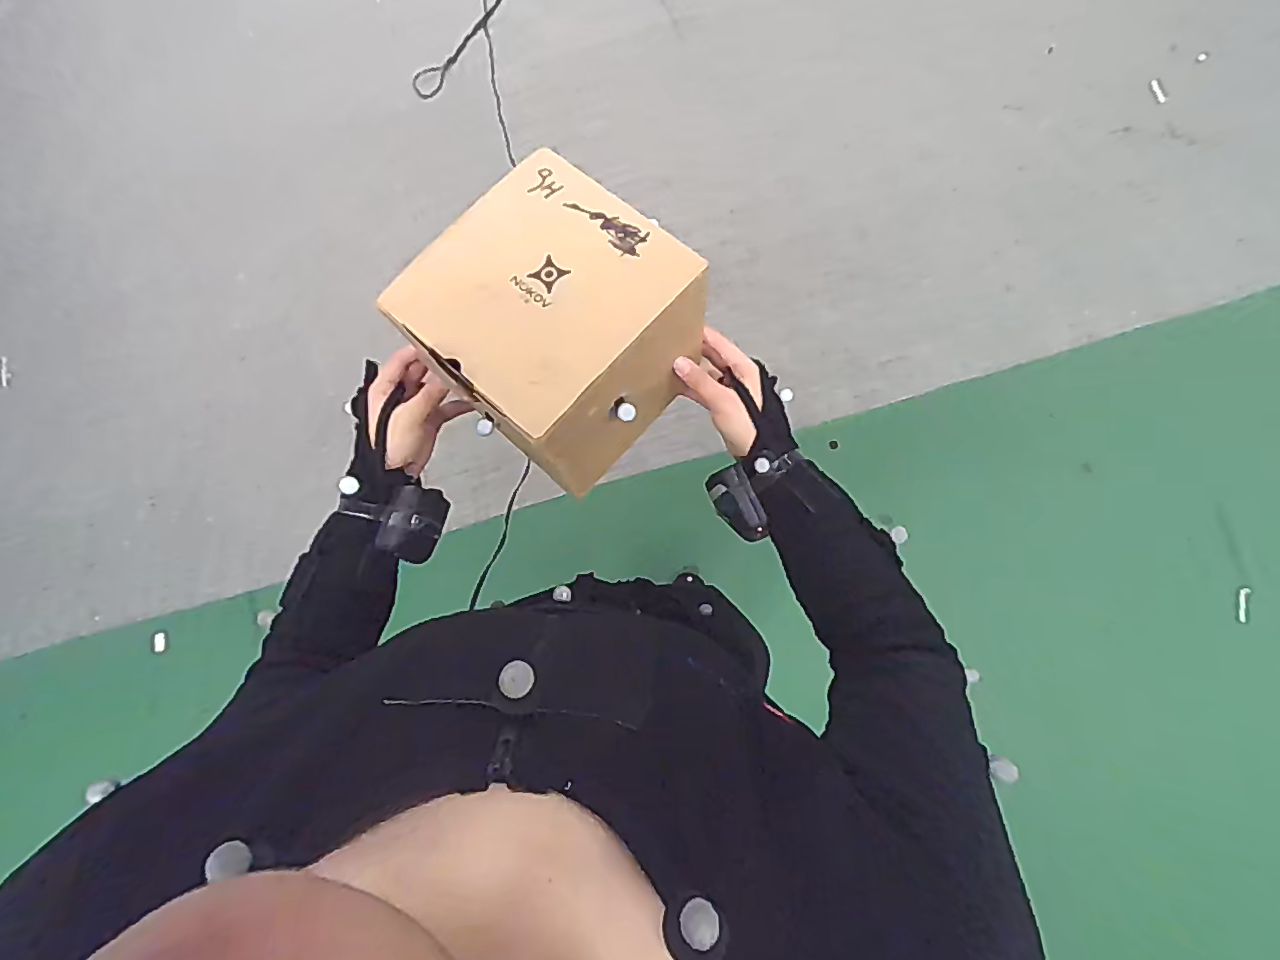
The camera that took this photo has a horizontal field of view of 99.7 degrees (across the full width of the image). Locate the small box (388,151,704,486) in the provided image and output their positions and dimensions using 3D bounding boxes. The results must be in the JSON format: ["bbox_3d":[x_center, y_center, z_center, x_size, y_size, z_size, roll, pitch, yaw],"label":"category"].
[{"bbox_3d":[-0.062,-0.119,0.461,0.168,0.176,0.179,40,81,12],"label":"small box"}]
